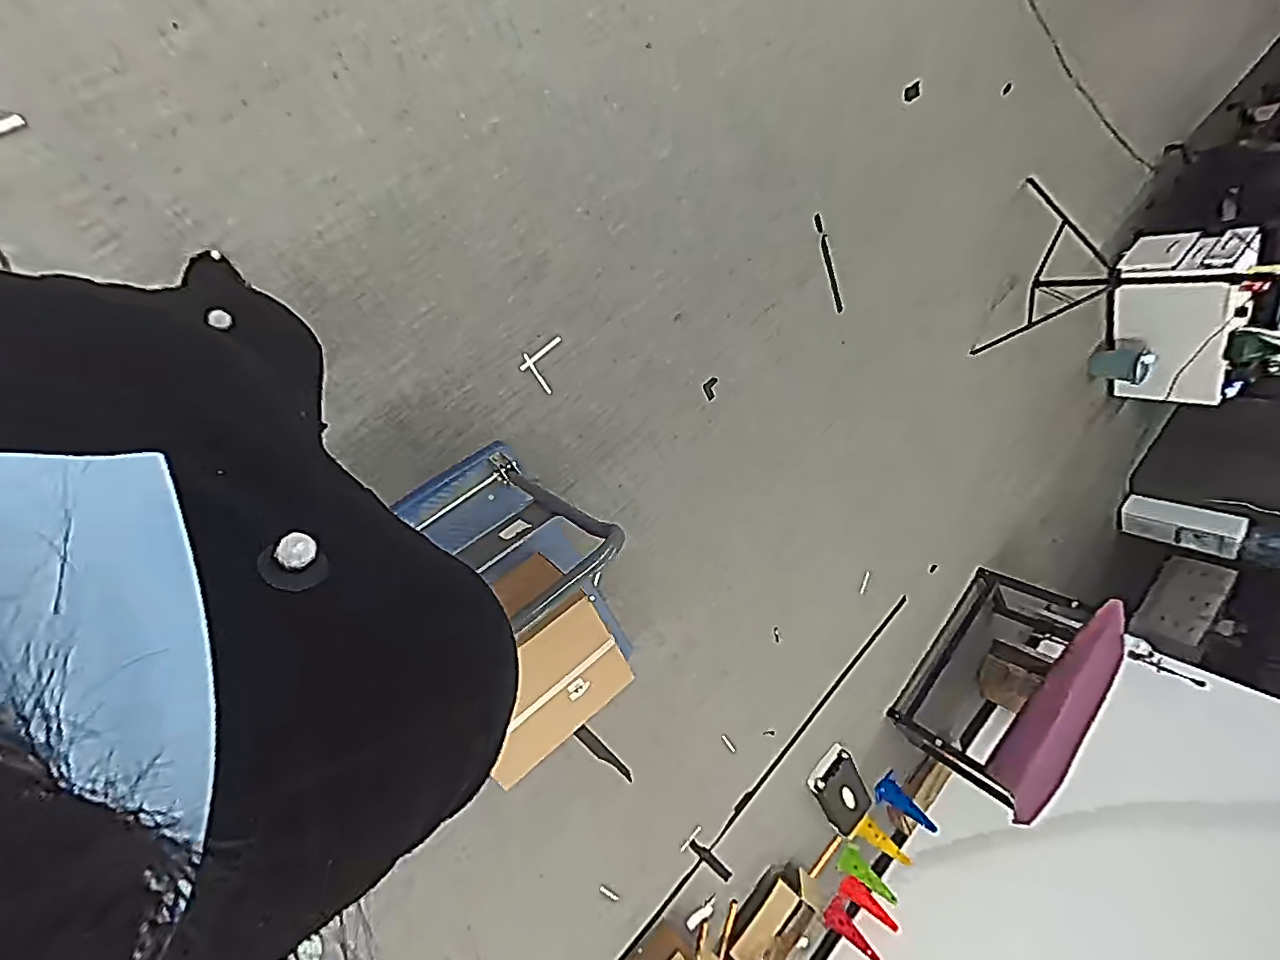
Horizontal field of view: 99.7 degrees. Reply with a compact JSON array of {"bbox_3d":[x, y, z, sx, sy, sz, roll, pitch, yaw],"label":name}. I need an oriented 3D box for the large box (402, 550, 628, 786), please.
[{"bbox_3d":[-0.314,0.449,1.370,0.408,0.320,0.320,-36,122,-22],"label":"large box"}]
